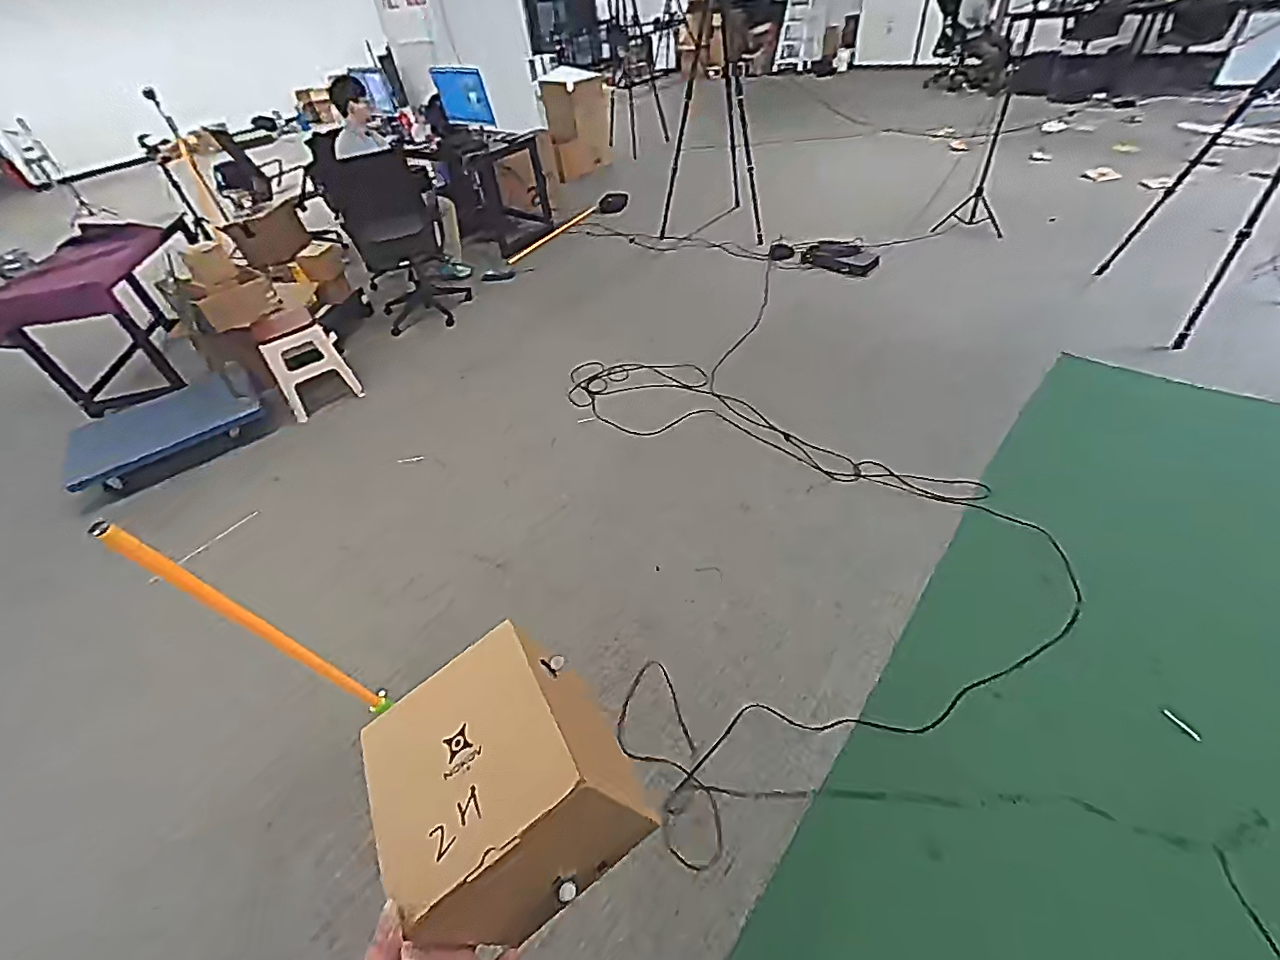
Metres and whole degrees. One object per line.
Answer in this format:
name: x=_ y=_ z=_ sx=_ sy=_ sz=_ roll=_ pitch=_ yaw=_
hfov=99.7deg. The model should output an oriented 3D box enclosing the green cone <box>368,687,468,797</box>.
green cone: x=-0.651 y=0.672 z=1.480 sx=0.200 sy=0.368 sz=0.202 roll=28 pitch=54 yaw=31
